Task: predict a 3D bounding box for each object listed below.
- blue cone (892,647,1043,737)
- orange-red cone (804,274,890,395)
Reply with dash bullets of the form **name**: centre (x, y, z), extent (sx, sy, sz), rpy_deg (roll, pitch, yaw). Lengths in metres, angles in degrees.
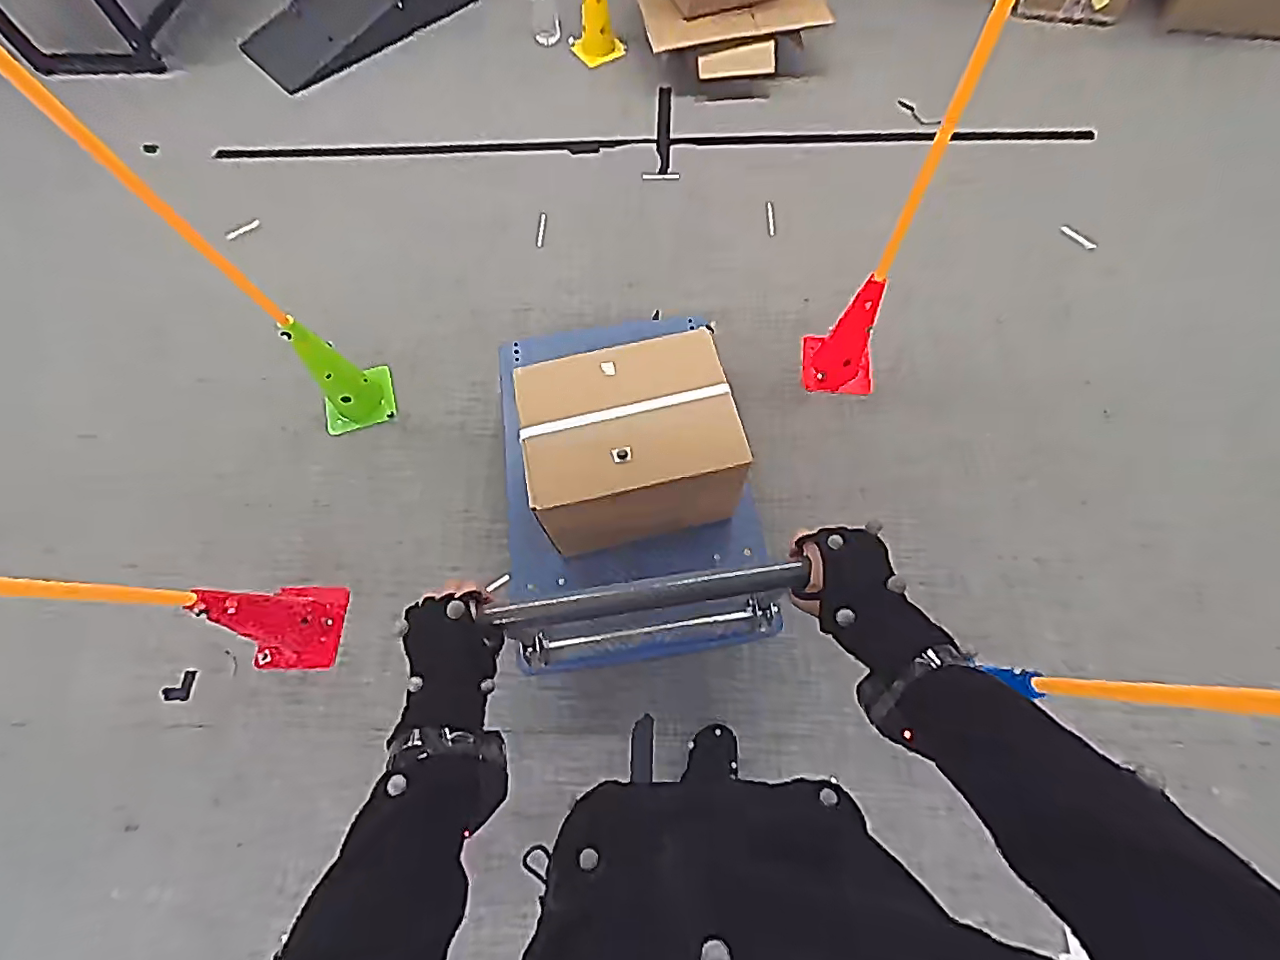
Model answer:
- **blue cone**: centre (0.692, 0.420, 1.104), extent (0.193, 0.380, 0.192), rpy_deg (-3, 65, 1)
- **orange-red cone**: centre (0.591, -0.412, 1.460), extent (0.199, 0.360, 0.198), rpy_deg (7, 67, 4)
